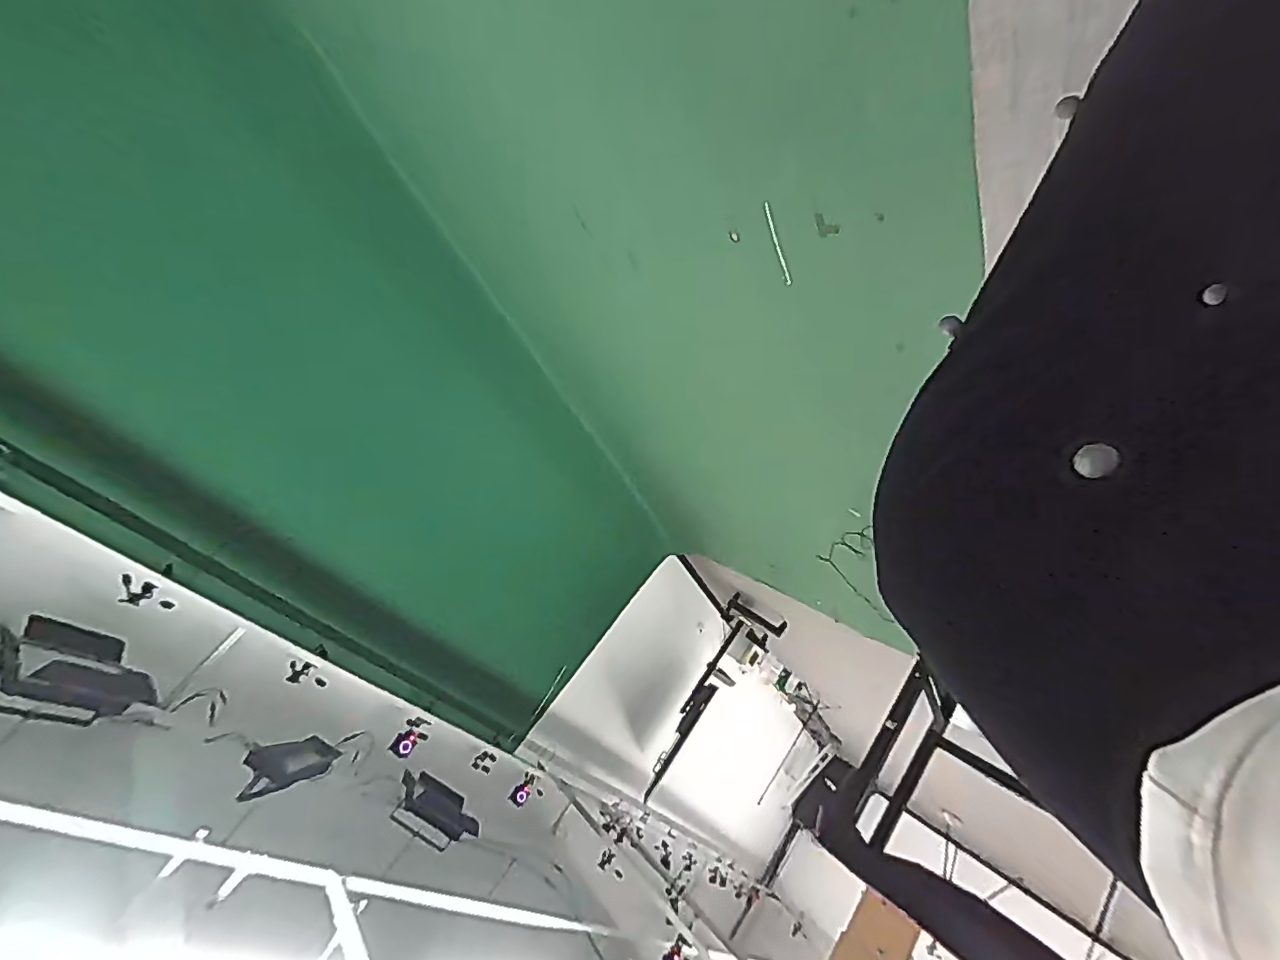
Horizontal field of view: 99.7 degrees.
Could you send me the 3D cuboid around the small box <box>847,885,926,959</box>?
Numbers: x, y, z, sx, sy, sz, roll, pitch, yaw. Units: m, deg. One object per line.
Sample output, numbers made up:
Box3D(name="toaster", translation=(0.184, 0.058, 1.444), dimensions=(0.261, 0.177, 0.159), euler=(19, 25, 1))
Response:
Box3D(name="small box", translation=(0.776, 1.412, 1.688), dimensions=(0.168, 0.176, 0.179), euler=(21, 155, 43))
